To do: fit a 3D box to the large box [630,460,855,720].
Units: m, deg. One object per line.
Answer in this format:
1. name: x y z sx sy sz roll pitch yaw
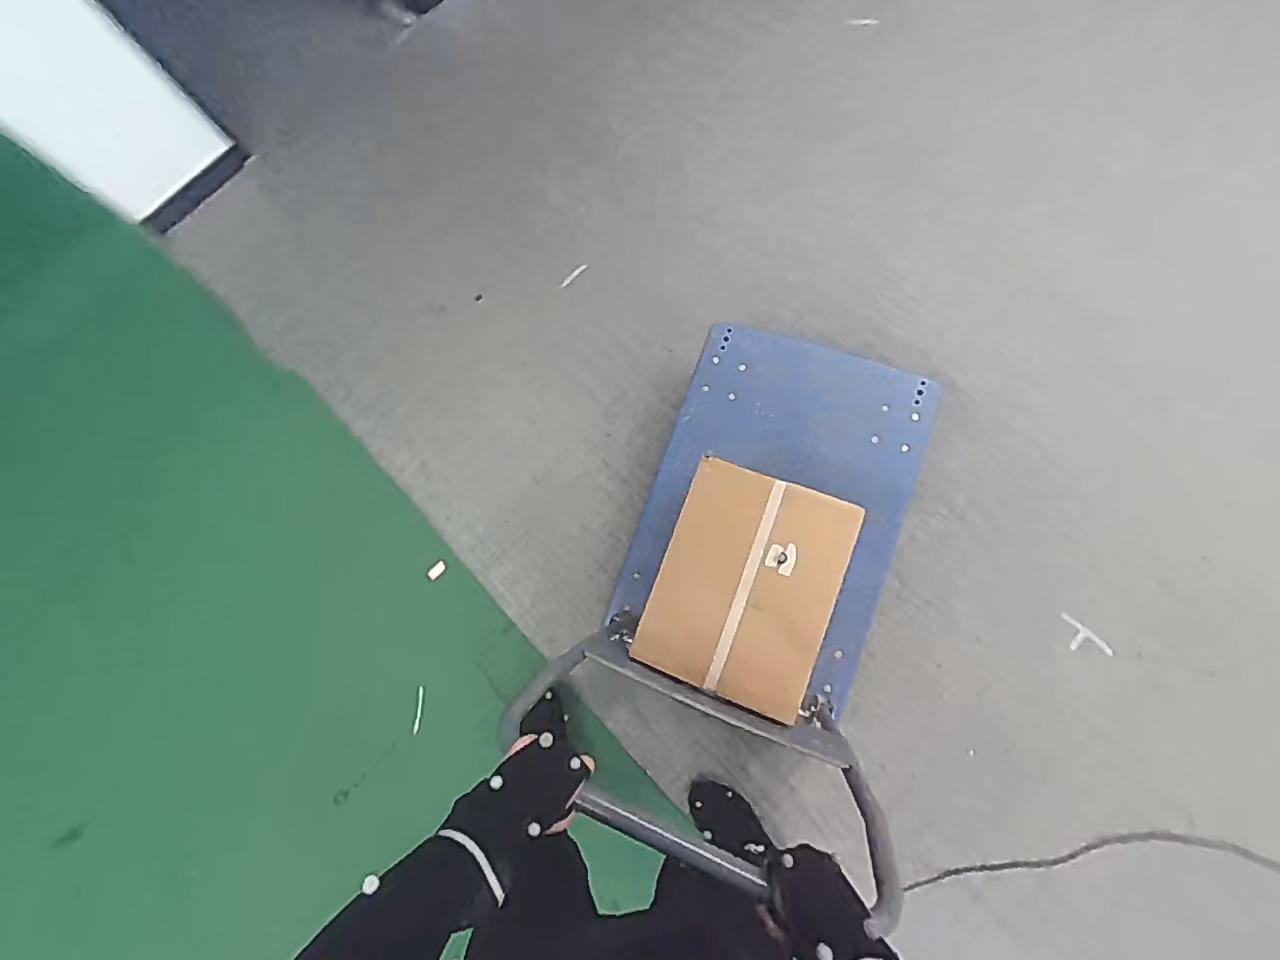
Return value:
1. large box: 0.214 0.222 1.146 0.320 0.320 0.408 20 83 13
